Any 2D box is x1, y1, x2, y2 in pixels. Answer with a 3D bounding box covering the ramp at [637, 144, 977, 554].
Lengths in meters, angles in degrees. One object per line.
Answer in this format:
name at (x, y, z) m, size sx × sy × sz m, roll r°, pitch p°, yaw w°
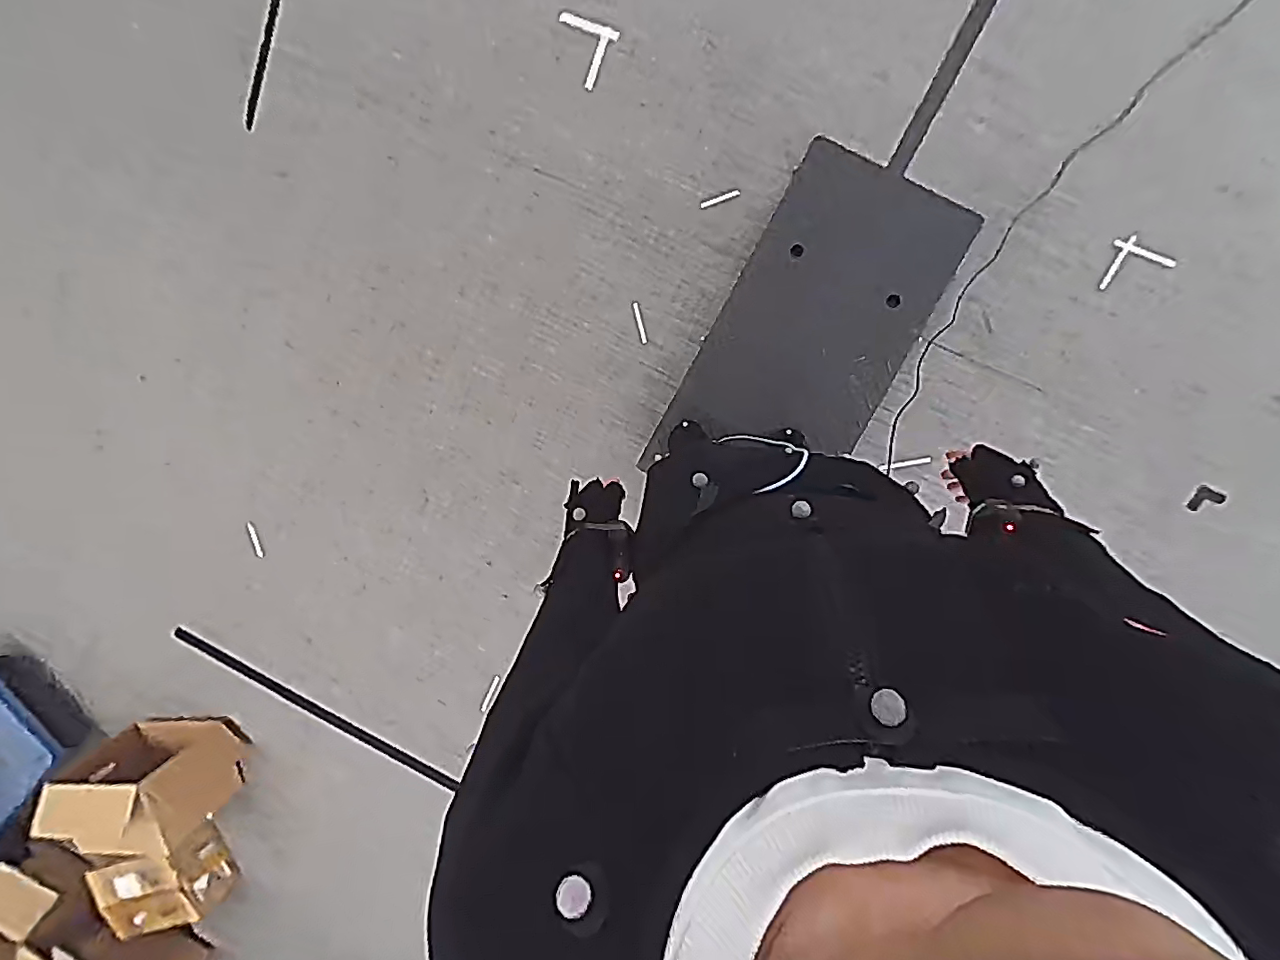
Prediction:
ramp at (0.430, -0.348, 1.444) m, size 0.509 × 0.206 × 0.991 m, roll 27°, pitch 103°, yaw 5°
